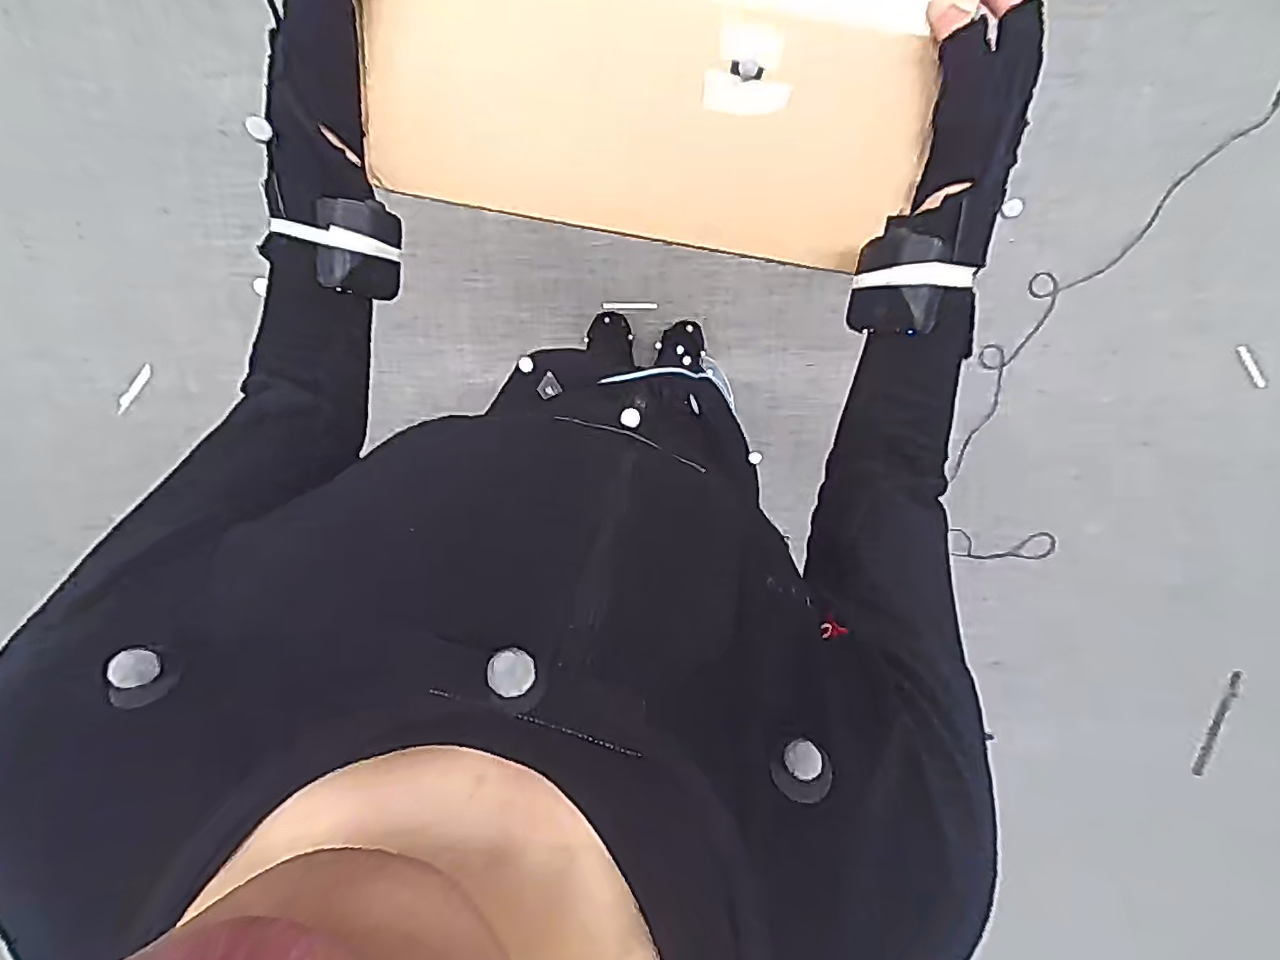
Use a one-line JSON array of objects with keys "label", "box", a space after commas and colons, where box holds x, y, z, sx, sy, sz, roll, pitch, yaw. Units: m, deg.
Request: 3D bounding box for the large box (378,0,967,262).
[{"label": "large box", "box": [0.026, -0.400, 0.496, 0.408, 0.320, 0.320, 10, 116, -2]}]
